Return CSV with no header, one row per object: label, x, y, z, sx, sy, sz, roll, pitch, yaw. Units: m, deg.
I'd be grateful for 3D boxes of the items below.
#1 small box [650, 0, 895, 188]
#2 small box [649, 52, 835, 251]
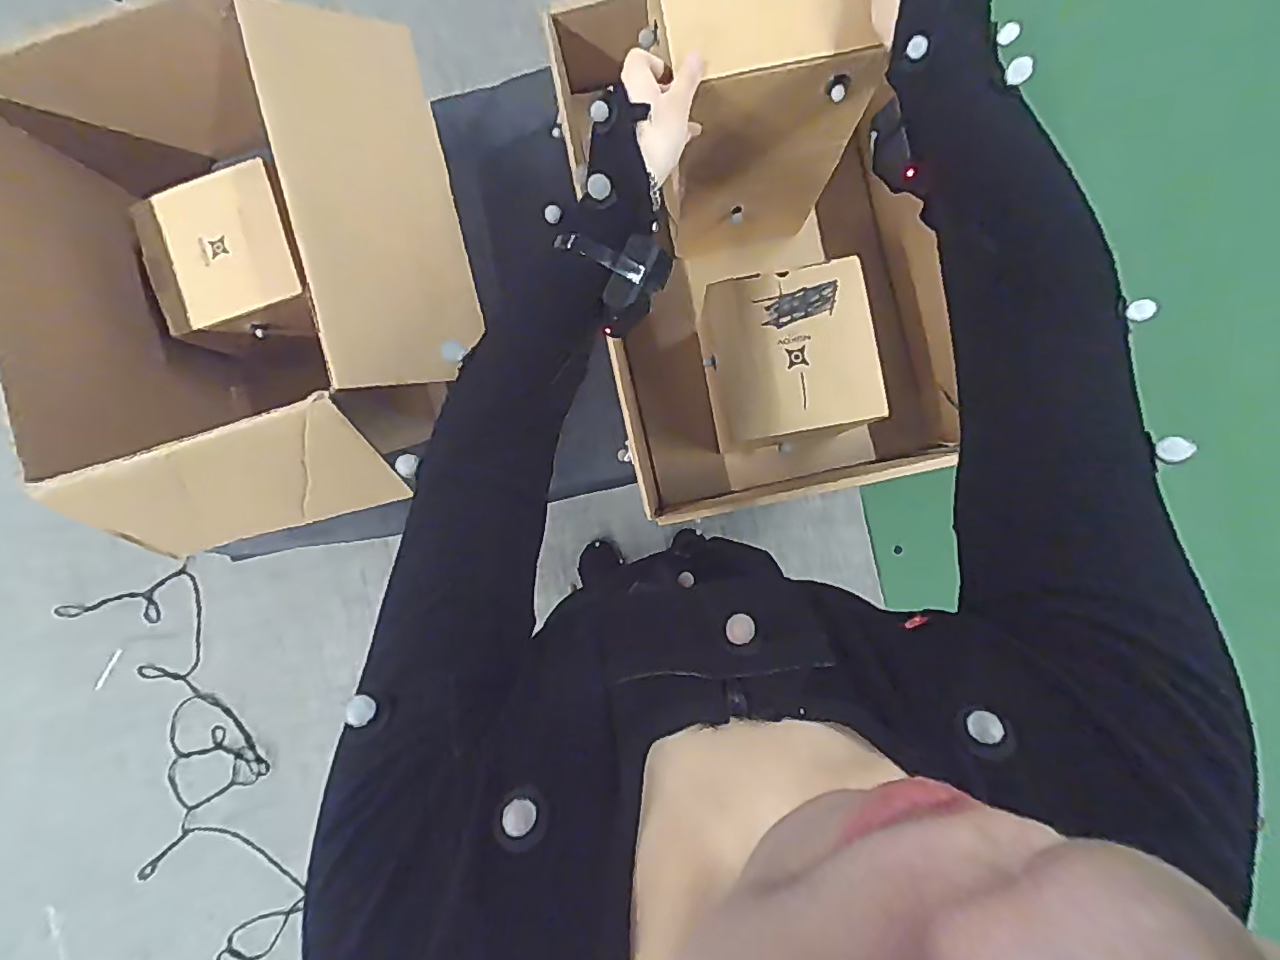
small box,0.104,-0.400,0.500,0.179,0.176,0.168,-10,90,3
small box,0.115,-0.405,0.662,0.179,0.176,0.168,-12,91,4
